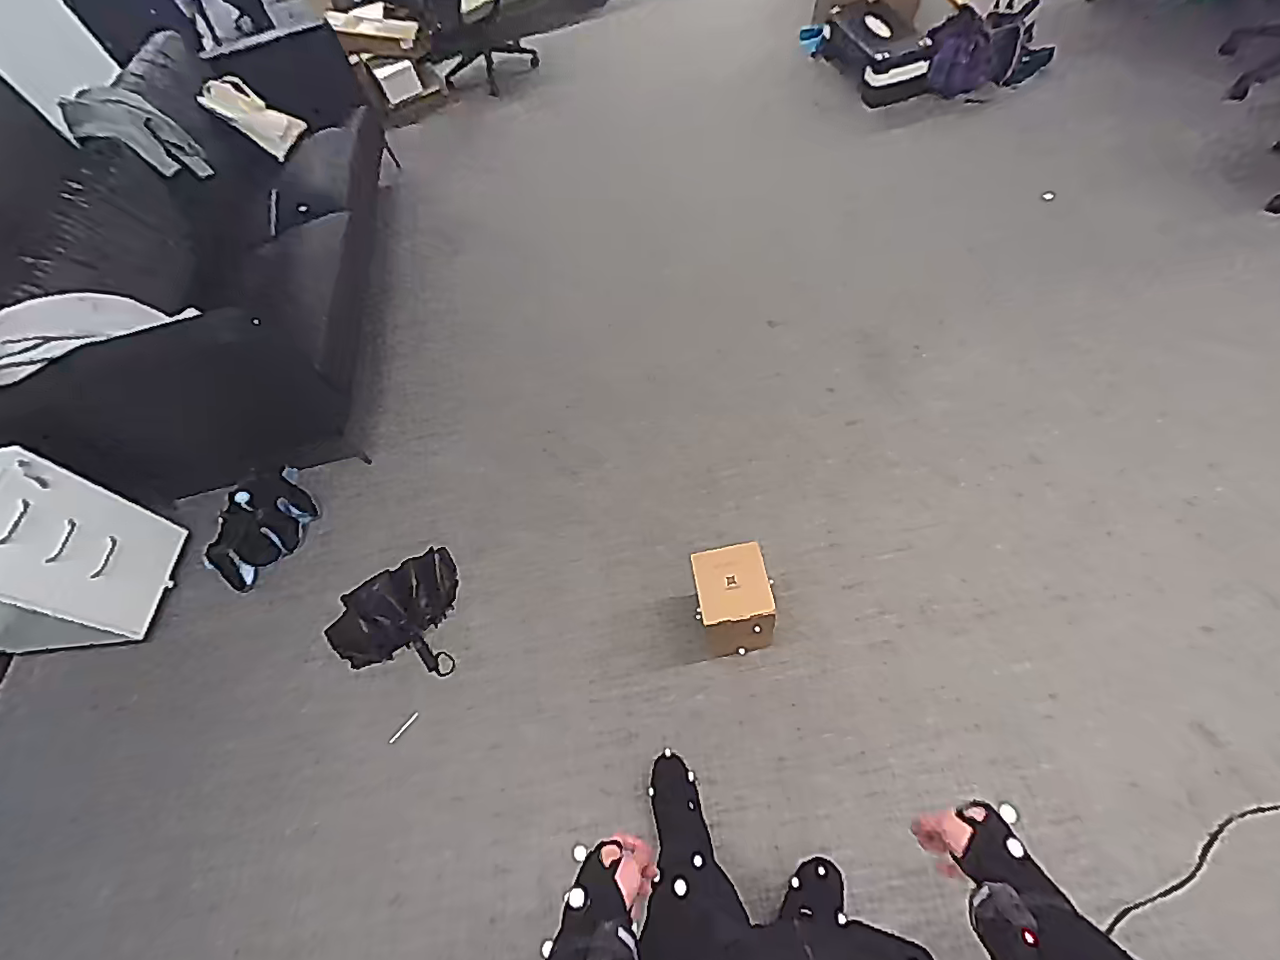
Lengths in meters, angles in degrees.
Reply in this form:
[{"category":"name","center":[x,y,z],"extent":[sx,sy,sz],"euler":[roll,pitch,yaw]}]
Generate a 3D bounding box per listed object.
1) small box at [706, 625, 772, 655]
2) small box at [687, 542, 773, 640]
[{"category":"small box","center":[0.243,0.346,1.430],"extent":[0.168,0.176,0.179],"euler":[-14,60,4]},{"category":"small box","center":[0.214,0.272,1.288],"extent":[0.168,0.176,0.179],"euler":[-12,58,4]}]
